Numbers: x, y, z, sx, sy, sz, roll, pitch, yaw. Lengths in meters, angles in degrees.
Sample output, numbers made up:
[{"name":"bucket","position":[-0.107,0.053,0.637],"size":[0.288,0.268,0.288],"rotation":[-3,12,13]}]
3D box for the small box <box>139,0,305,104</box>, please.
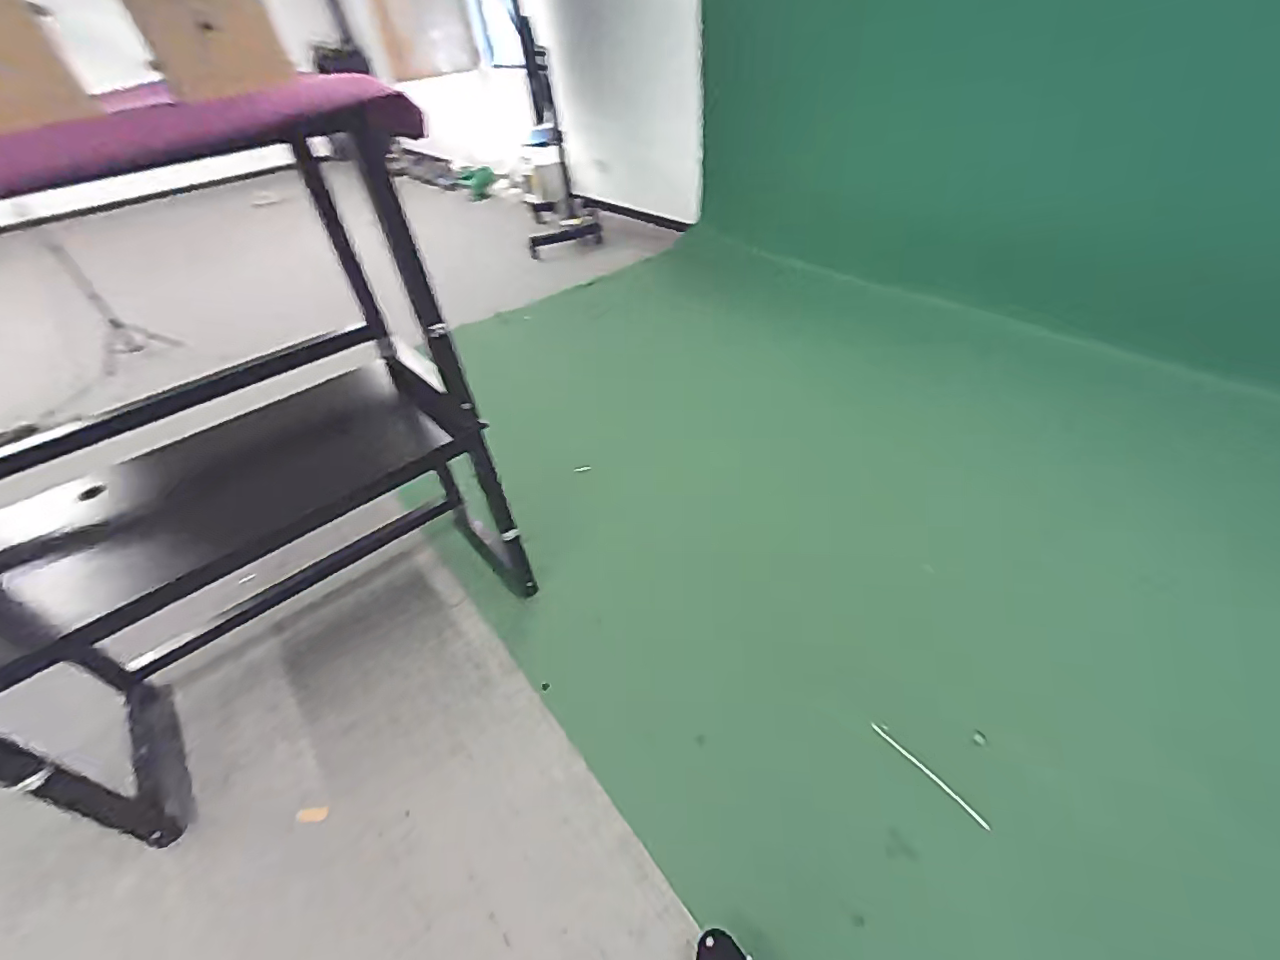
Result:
[{"name":"small box","position":[-0.674,-0.728,0.872],"size":[0.179,0.176,0.168],"rotation":[-32,48,-24]}]
